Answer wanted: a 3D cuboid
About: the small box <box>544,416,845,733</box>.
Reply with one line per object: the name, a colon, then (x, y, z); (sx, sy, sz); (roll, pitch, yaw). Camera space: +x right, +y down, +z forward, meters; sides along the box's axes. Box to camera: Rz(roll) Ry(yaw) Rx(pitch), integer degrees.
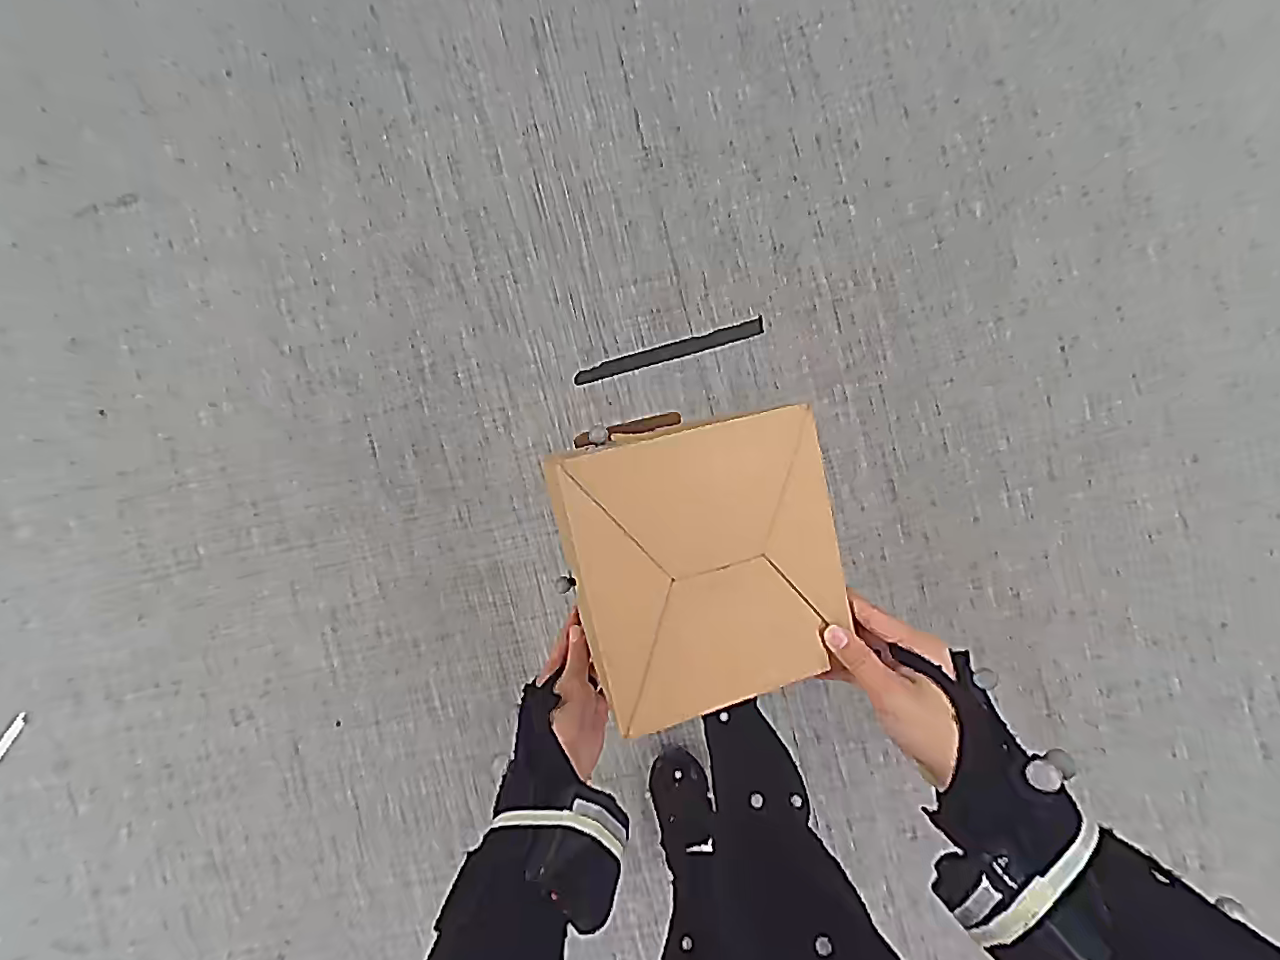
small box: (0.031, 0.052, 0.415); (0.168, 0.176, 0.179); (-14, 96, -12)
